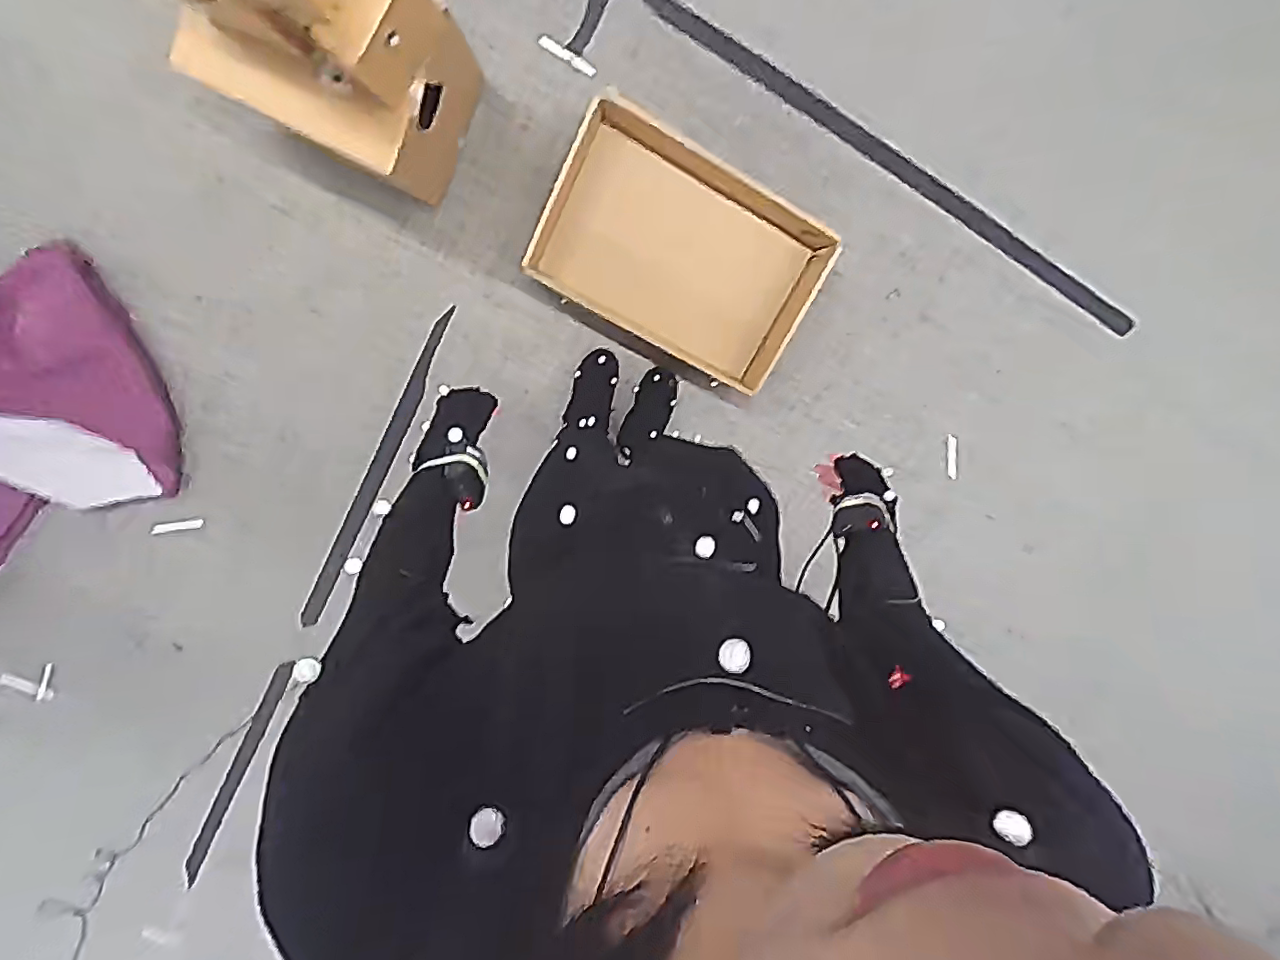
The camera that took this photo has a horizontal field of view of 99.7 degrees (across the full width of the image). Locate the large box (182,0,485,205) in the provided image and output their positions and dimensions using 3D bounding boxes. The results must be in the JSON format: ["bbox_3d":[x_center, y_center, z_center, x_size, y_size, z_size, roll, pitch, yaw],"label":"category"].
[{"bbox_3d":[-0.585,-0.827,1.101,0.408,0.320,0.320,23,104,-10],"label":"large box"}]

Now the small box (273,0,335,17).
[{"bbox_3d":[-0.513,-0.756,0.701,0.168,0.176,0.179,11,106,-6],"label":"small box"}]
